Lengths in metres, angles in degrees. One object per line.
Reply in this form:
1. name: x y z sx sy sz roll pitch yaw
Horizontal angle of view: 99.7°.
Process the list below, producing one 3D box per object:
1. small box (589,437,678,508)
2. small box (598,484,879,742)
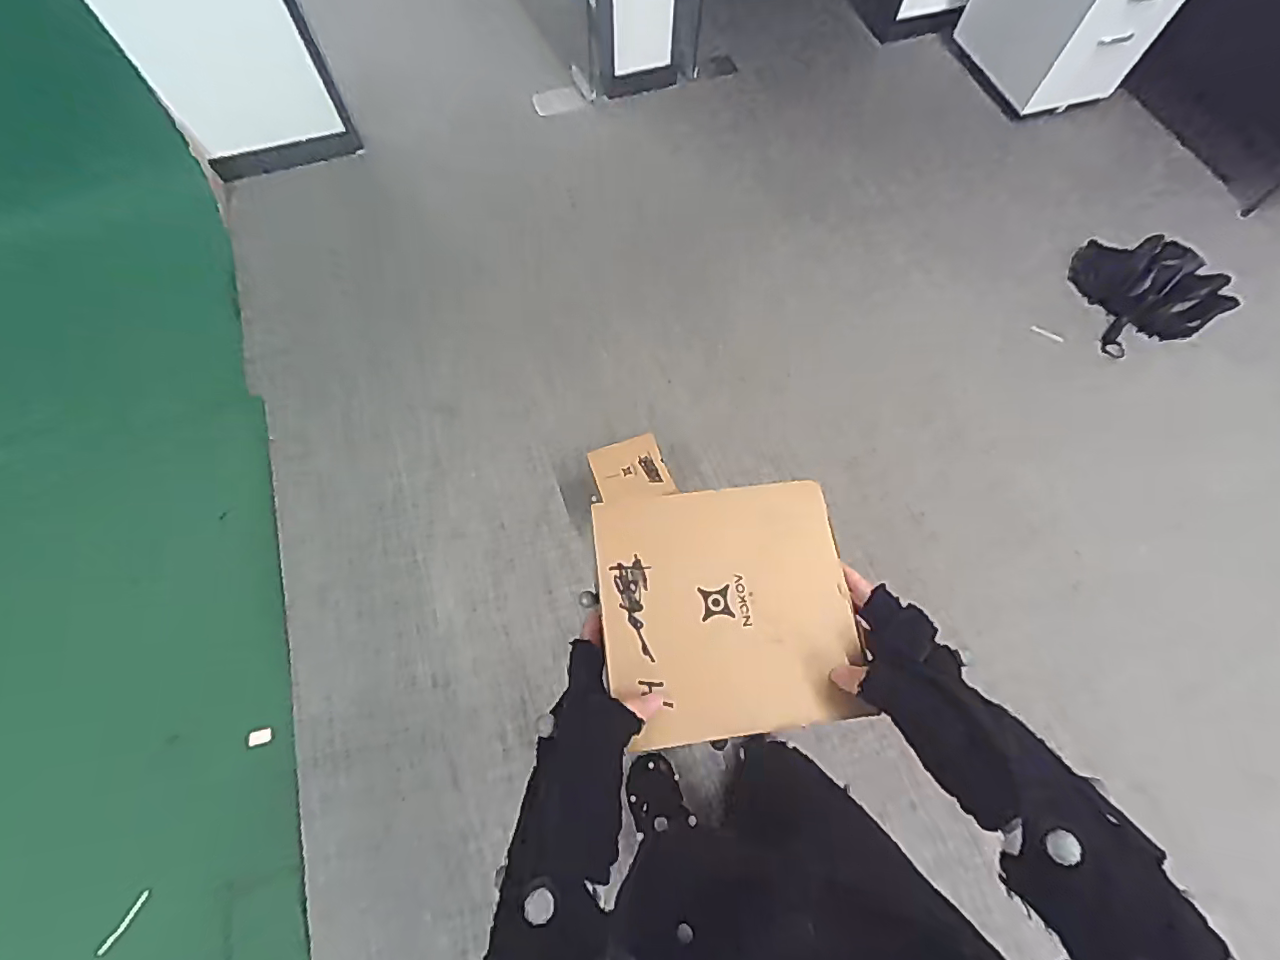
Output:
1. small box: -0.019 0.019 1.373 0.179 0.176 0.168 -19 68 -8
2. small box: 0.059 0.114 0.450 0.179 0.176 0.168 -5 66 -6
